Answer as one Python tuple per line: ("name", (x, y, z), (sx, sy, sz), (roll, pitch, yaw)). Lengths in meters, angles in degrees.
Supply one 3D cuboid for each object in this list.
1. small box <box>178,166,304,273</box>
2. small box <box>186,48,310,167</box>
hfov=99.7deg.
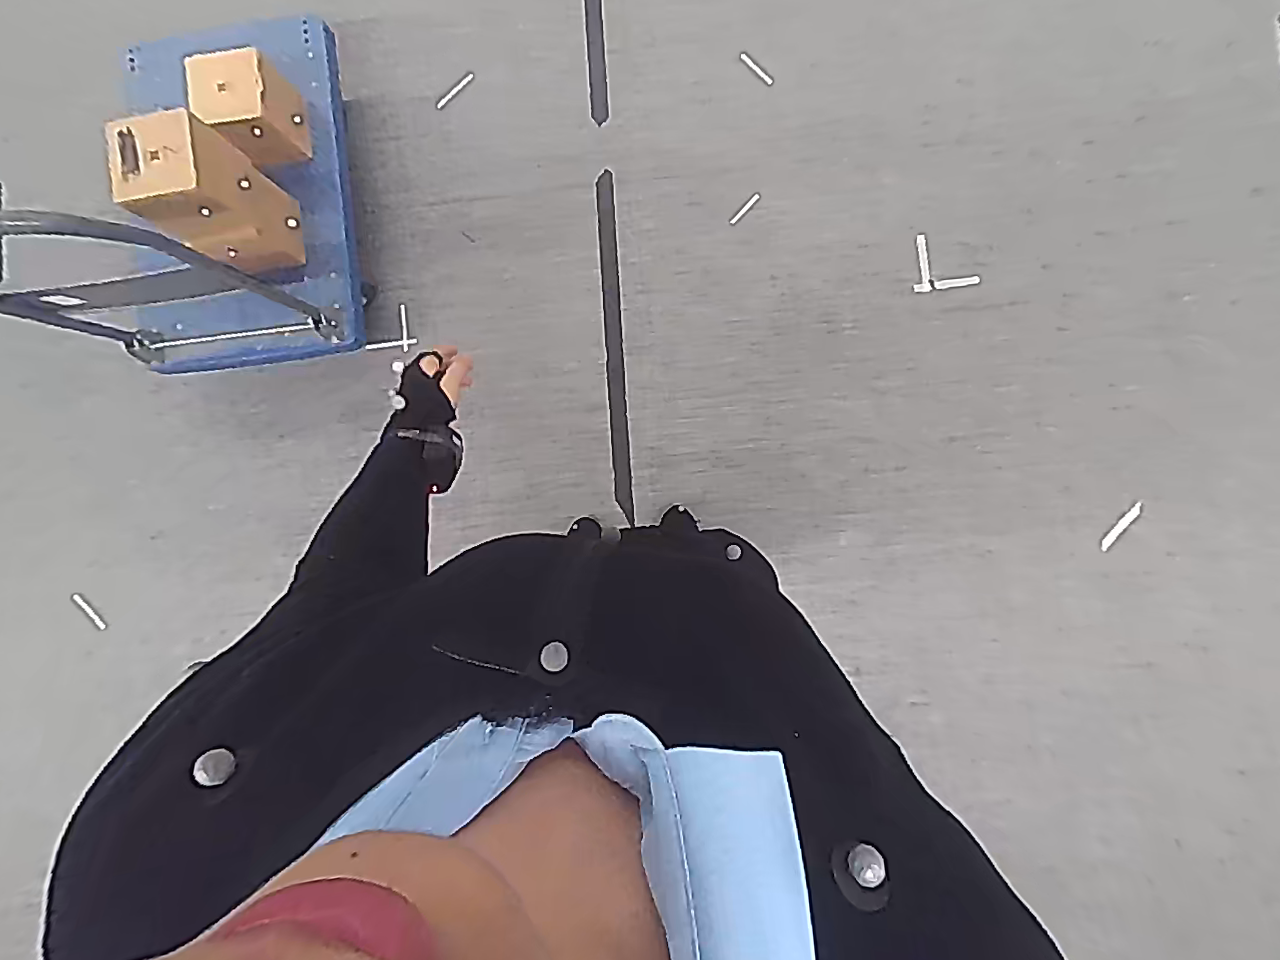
("small box", (-0.954, -0.618, 1.304), (0.179, 0.176, 0.168), (-7, 89, 3))
("small box", (-0.942, -0.891, 1.310), (0.179, 0.176, 0.168), (-6, 89, 3))
